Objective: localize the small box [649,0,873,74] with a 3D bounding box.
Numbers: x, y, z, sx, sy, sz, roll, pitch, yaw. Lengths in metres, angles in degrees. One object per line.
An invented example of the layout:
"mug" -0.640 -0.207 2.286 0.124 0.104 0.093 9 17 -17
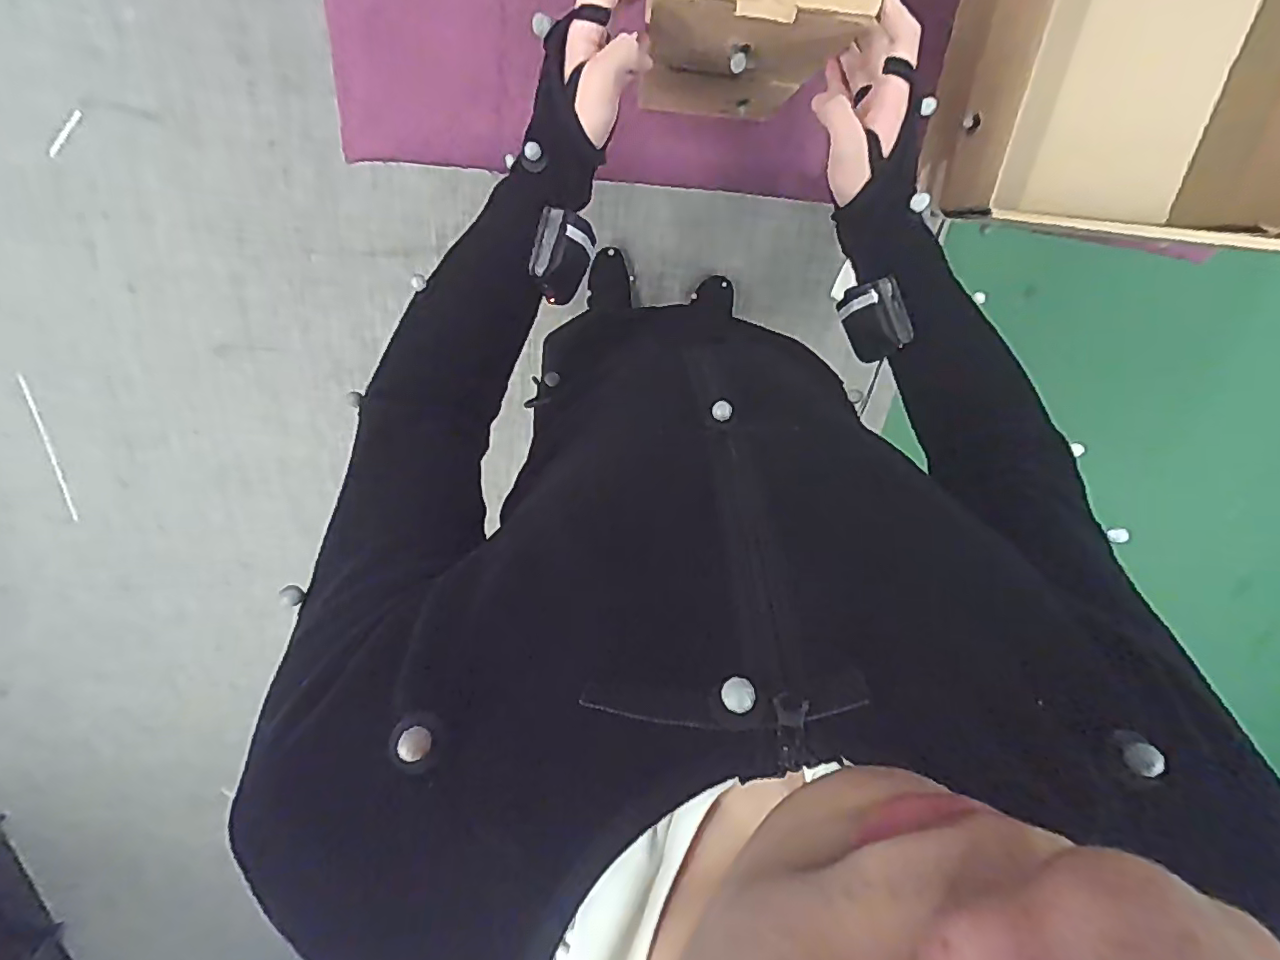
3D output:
"small box" 0.097 -0.455 0.433 0.168 0.176 0.179 4 114 -3

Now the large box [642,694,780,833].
"large box" 0.252 1.089 2.036 0.408 0.320 0.320 -26 113 9

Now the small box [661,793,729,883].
"small box" 0.179 1.193 1.810 0.179 0.176 0.168 -26 111 9

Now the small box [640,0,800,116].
"small box" 0.090 -0.520 0.587 0.168 0.176 0.179 5 112 -4
